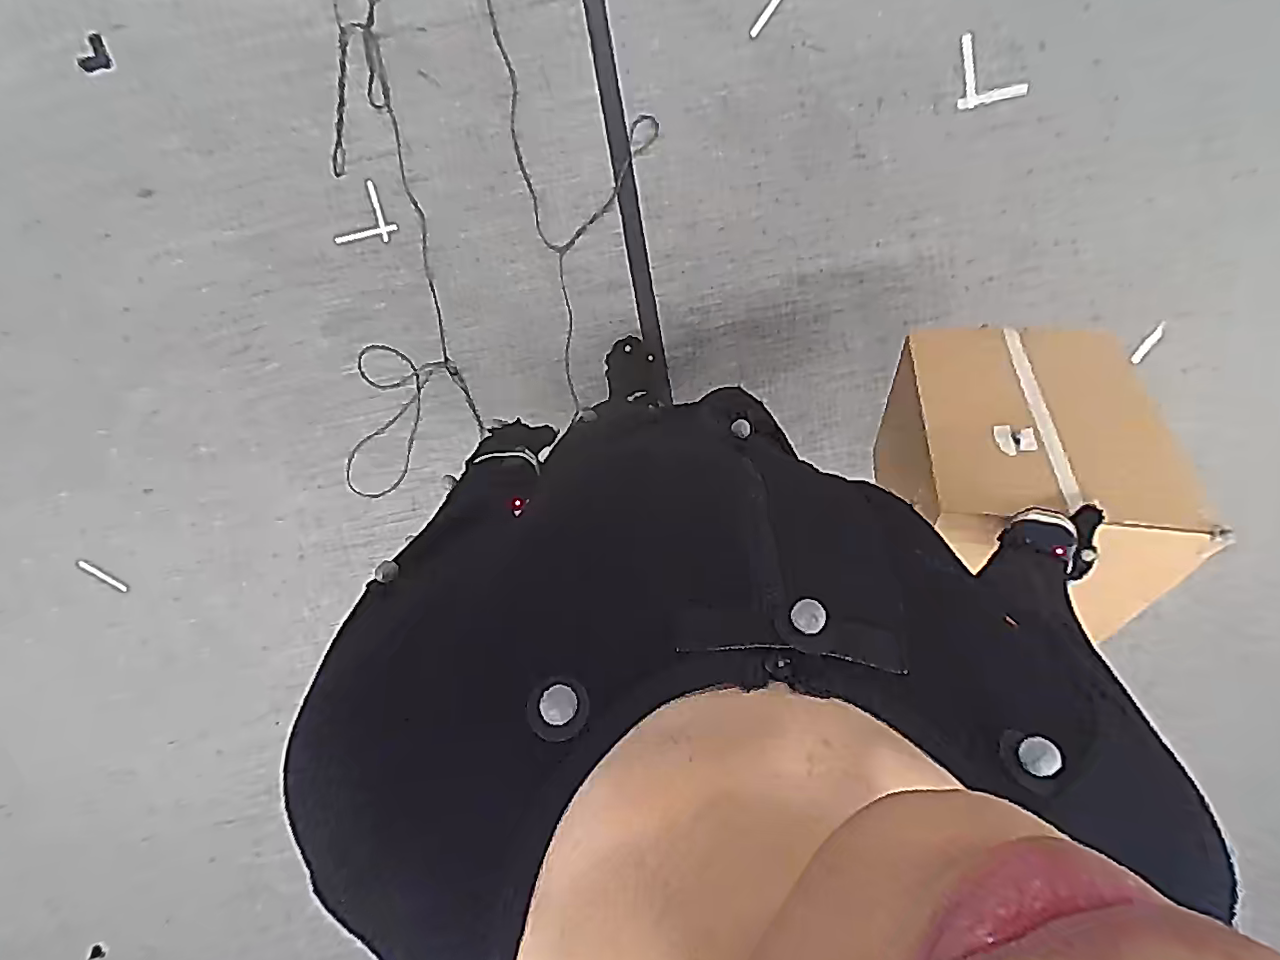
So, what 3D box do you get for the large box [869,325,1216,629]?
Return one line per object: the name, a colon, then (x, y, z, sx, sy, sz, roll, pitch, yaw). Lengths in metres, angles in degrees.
large box: (0.597, -0.011, 0.914, 0.320, 0.408, 0.320, 3, 143, 12)
